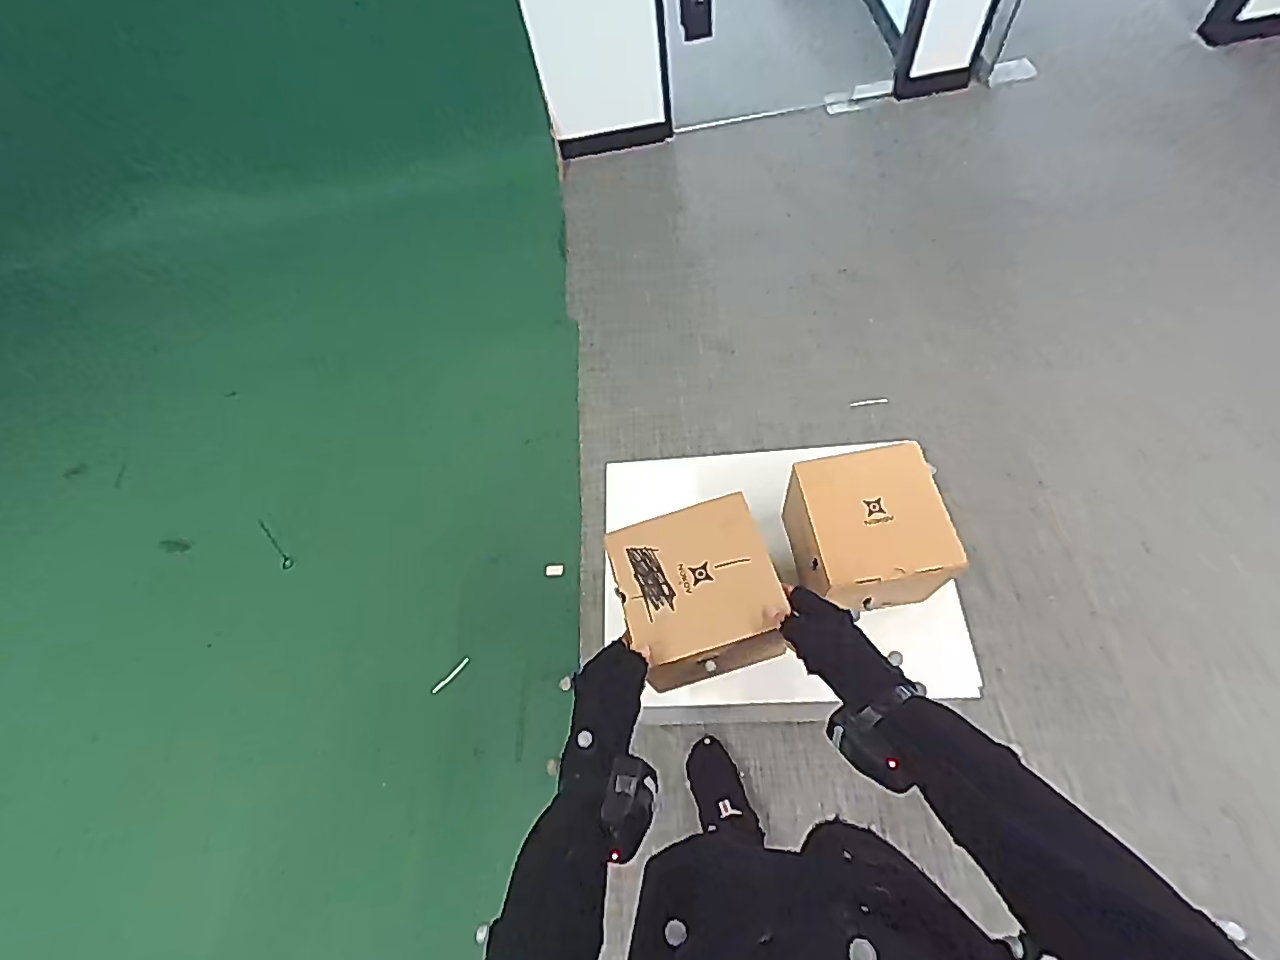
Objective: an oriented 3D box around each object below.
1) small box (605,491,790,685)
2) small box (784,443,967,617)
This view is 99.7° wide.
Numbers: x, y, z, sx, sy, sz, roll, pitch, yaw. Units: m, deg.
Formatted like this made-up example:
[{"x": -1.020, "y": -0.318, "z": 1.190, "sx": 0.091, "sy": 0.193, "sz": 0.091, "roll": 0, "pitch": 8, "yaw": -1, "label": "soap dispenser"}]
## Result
[{"x": 0.072, "y": 0.143, "z": 0.674, "sx": 0.179, "sy": 0.176, "sz": 0.168, "roll": -17, "pitch": 60, "yaw": 1, "label": "small box"}, {"x": 0.305, "y": 0.075, "z": 0.747, "sx": 0.168, "sy": 0.176, "sz": 0.179, "roll": -10, "pitch": 63, "yaw": 4, "label": "small box"}]
